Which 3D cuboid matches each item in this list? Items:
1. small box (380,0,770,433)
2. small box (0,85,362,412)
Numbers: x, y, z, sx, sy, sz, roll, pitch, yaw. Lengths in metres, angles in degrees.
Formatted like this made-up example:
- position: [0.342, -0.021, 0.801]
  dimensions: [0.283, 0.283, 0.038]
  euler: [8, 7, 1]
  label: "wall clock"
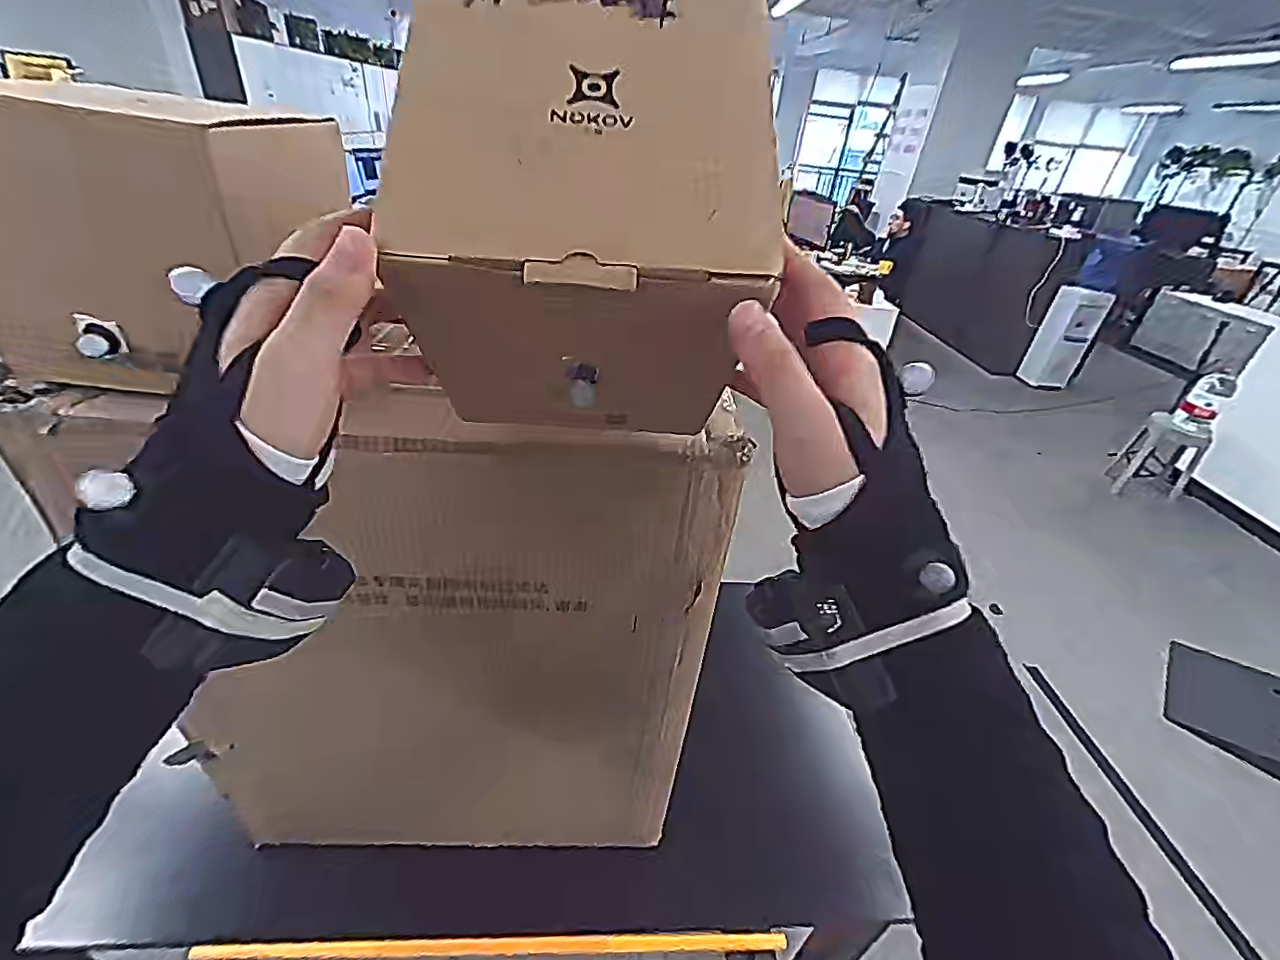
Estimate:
- position: [-0.028, -0.138, 0.322]
  dimensions: [0.168, 0.176, 0.179]
  euler: [3, 72, -4]
  label: "small box"
- position: [-0.321, -0.167, 0.391]
  dimensions: [0.168, 0.176, 0.179]
  euler: [4, 35, -6]
  label: "small box"
